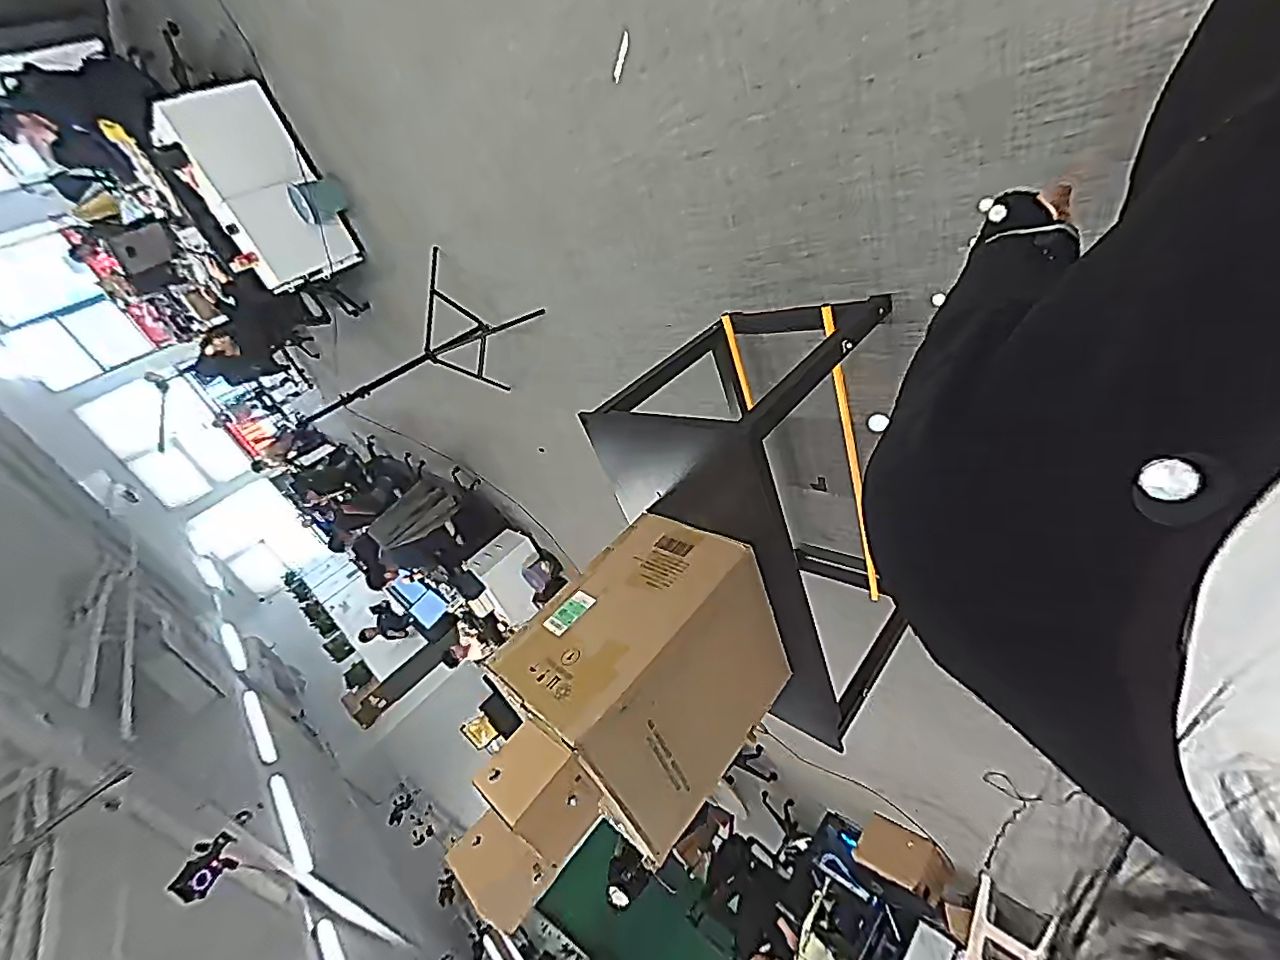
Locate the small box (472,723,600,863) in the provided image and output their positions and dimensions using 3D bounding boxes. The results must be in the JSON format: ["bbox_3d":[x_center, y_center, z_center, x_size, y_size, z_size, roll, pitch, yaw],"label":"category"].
[{"bbox_3d":[-0.218,0.657,1.160,0.179,0.176,0.168,10,135,47],"label":"small box"}]

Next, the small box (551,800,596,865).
[{"bbox_3d":[-0.237,0.847,1.420,0.179,0.176,0.168,14,135,46],"label":"small box"}]

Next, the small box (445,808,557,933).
[{"bbox_3d":[-0.337,0.941,1.329,0.179,0.176,0.168,16,138,45],"label":"small box"}]
